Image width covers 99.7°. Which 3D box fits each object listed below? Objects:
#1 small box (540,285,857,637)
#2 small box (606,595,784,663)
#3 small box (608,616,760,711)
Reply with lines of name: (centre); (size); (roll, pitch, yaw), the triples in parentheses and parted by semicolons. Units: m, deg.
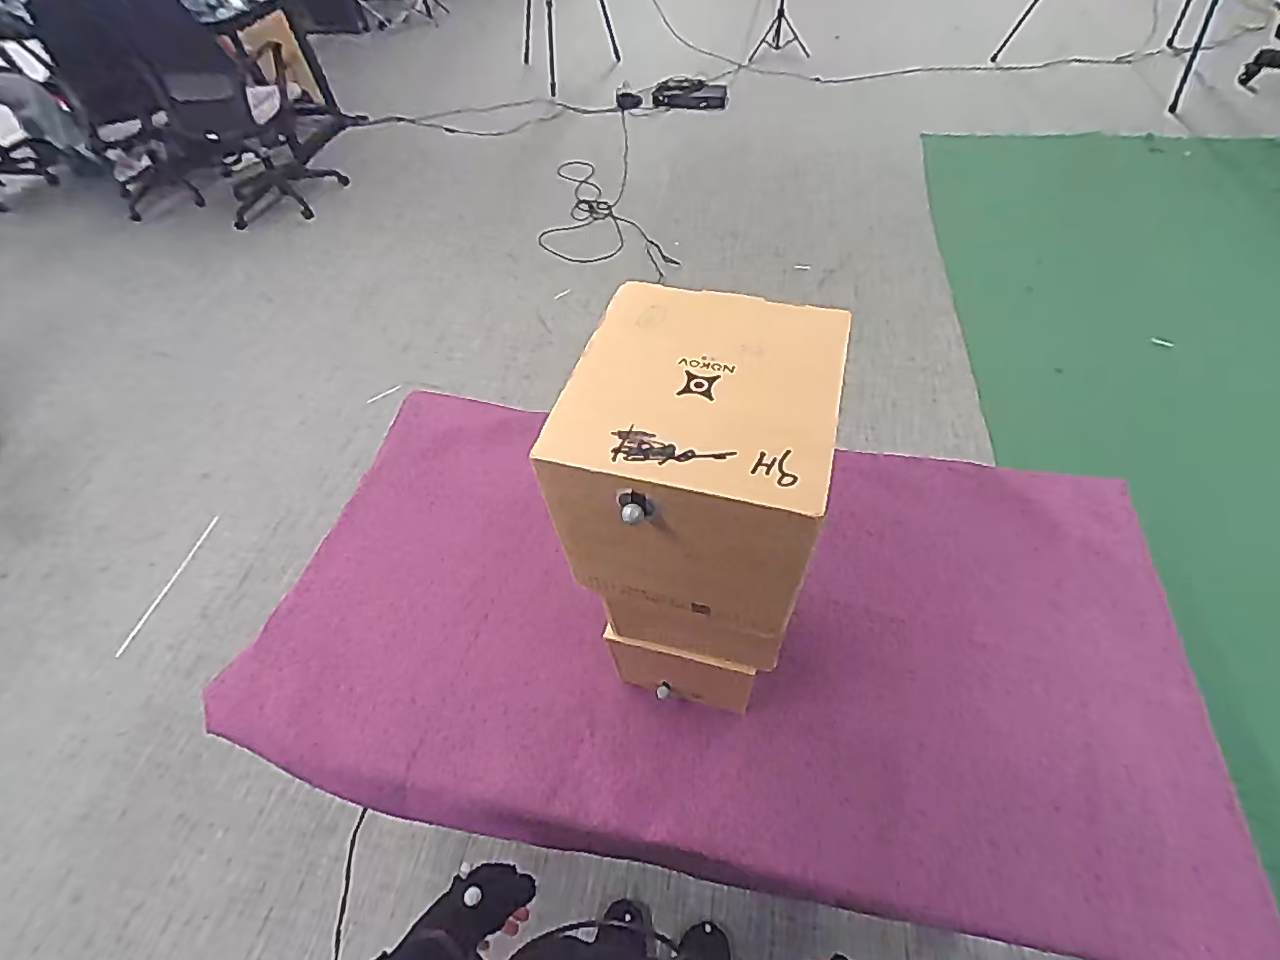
small box: (0.049, -0.013, 0.397); (0.168, 0.176, 0.179); (12, 55, 14)
small box: (0.066, 0.065, 0.542); (0.179, 0.176, 0.168); (10, 55, 12)
small box: (0.071, 0.161, 0.673); (0.168, 0.176, 0.179); (11, 56, 13)
